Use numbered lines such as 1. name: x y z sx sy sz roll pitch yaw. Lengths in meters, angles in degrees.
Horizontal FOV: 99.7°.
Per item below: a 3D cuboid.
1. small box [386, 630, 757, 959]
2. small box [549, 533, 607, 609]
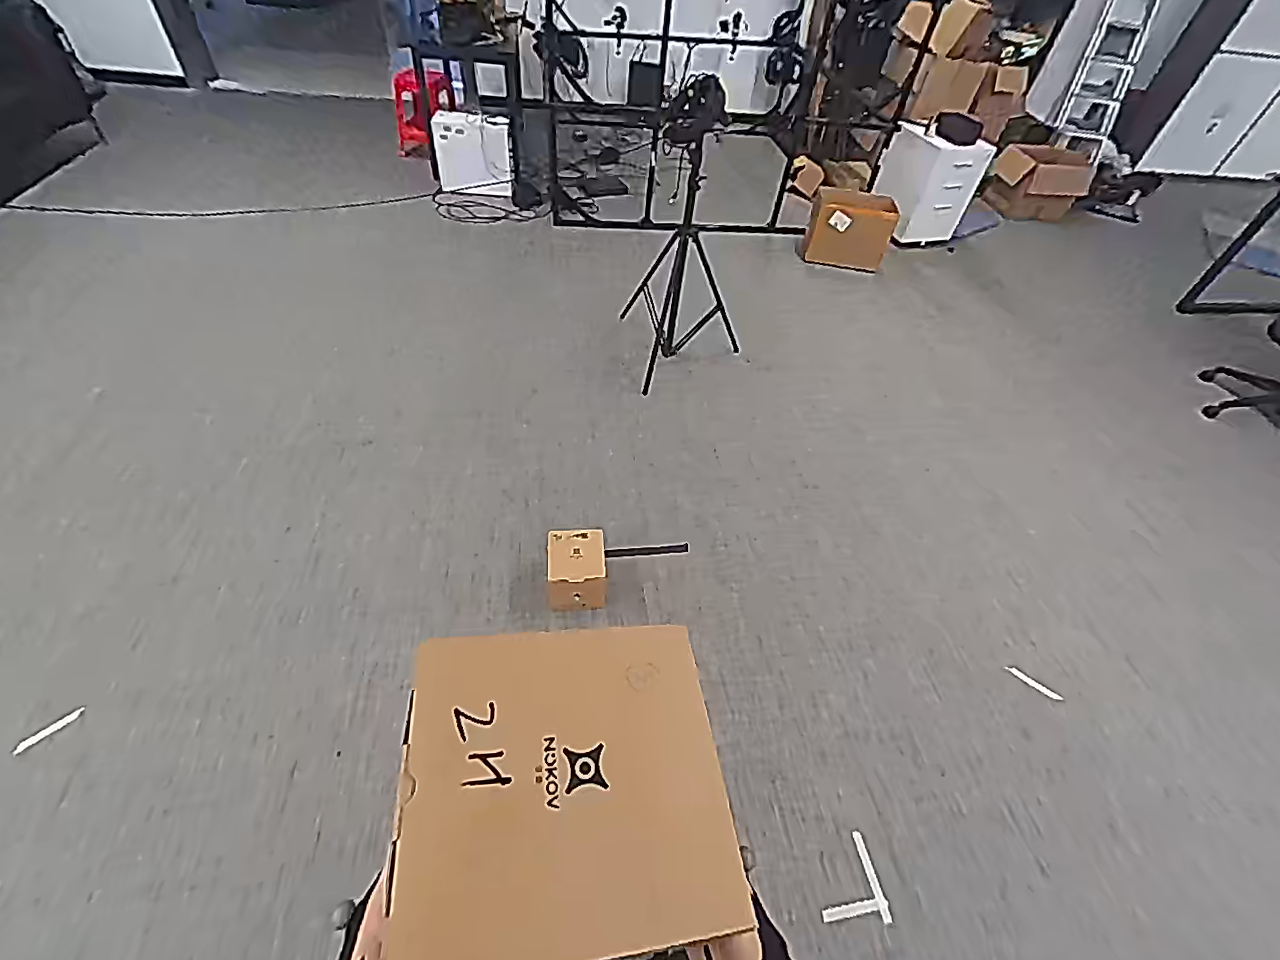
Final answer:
1. small box: -0.052 0.215 0.353 0.179 0.176 0.168 0 47 -15
2. small box: -0.187 0.280 1.633 0.168 0.176 0.179 -1 49 -8
